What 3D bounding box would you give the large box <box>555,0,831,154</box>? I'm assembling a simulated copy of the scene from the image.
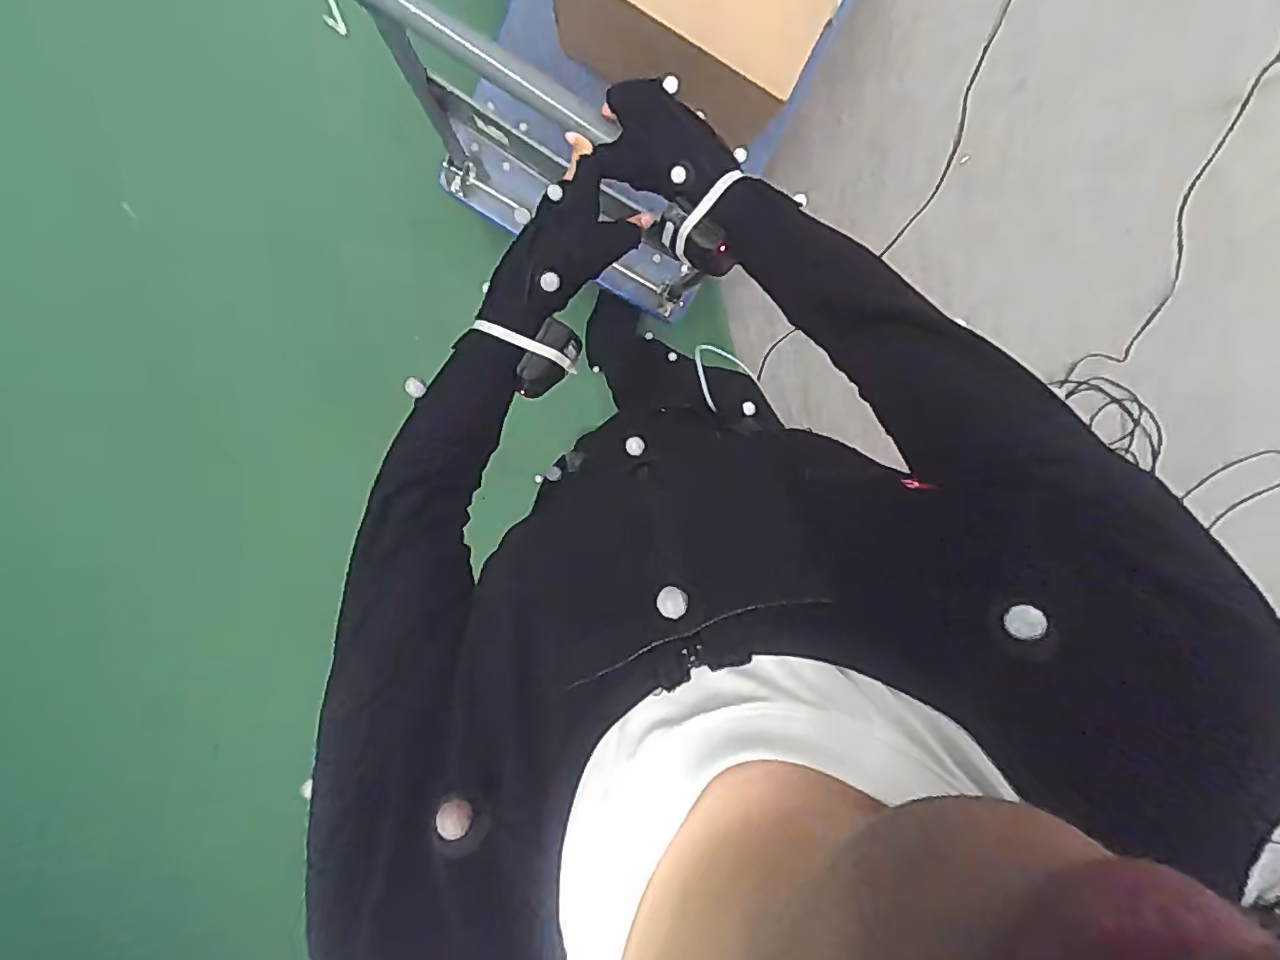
[{"bbox_3d":[0.102,-0.839,0.914,0.408,0.320,0.320,25,102,-10],"label":"large box"}]
